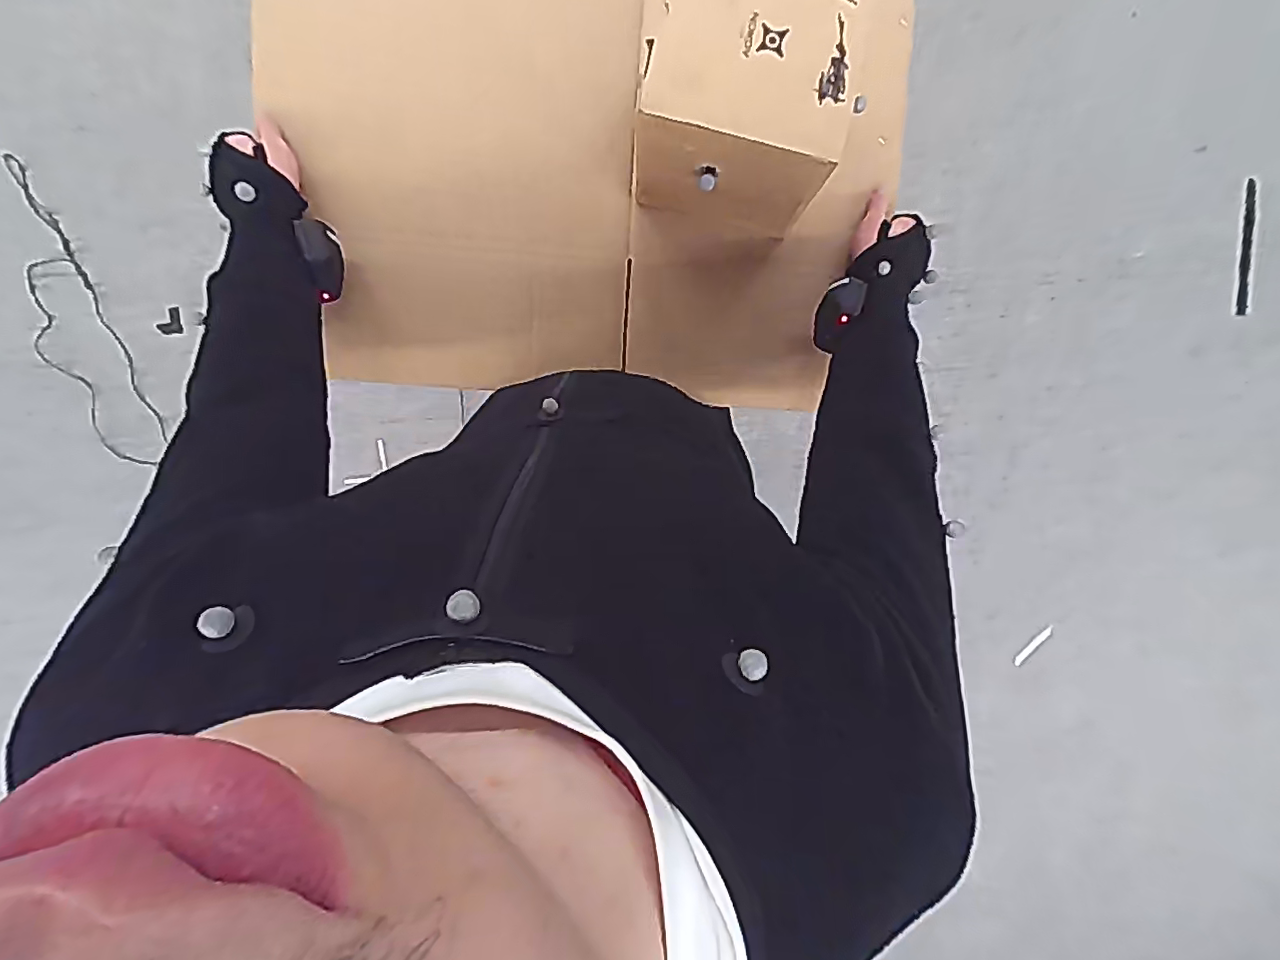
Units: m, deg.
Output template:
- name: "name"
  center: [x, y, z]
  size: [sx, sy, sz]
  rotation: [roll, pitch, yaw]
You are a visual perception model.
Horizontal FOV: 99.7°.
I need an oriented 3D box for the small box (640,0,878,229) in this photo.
- name: "small box"
  center: [0.102, -0.371, 0.529]
  size: [0.179, 0.176, 0.168]
  rotation: [13, 94, -1]
